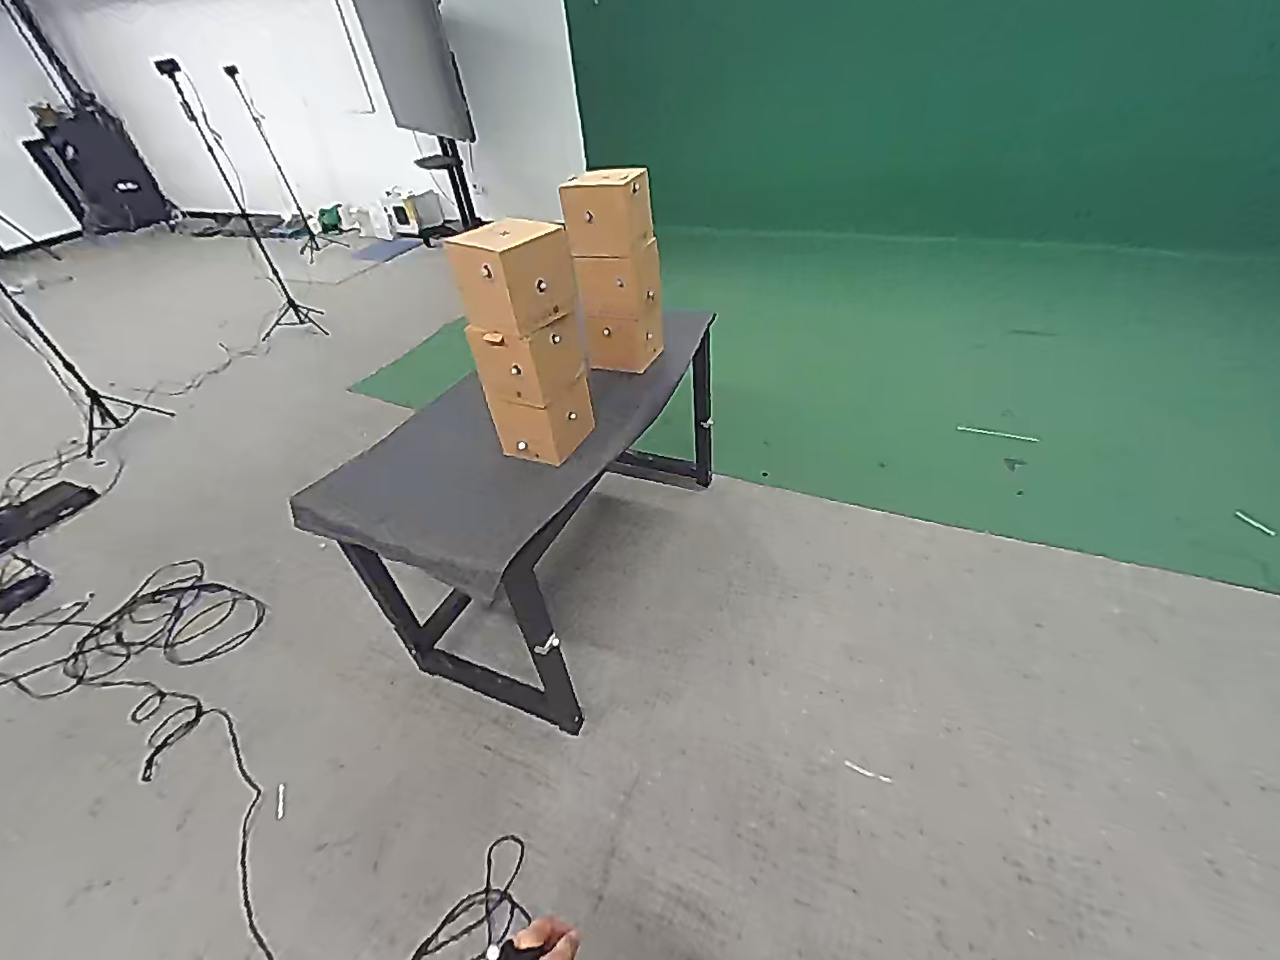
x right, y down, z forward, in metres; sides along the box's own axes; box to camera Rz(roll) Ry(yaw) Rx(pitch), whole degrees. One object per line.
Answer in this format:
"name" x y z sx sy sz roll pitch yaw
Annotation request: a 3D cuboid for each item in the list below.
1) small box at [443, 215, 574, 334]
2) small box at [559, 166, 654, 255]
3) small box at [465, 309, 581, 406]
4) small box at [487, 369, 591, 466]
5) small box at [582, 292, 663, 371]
"small box" -0.253 -0.408 1.078 0.179 0.176 0.168 24 49 32
"small box" -0.078 -0.684 1.377 0.179 0.176 0.168 9 43 21
"small box" -0.245 -0.282 1.185 0.168 0.176 0.179 15 44 23
"small box" -0.230 -0.161 1.292 0.168 0.176 0.179 13 45 23
"small box" -0.043 -0.435 1.589 0.179 0.176 0.168 12 44 23
